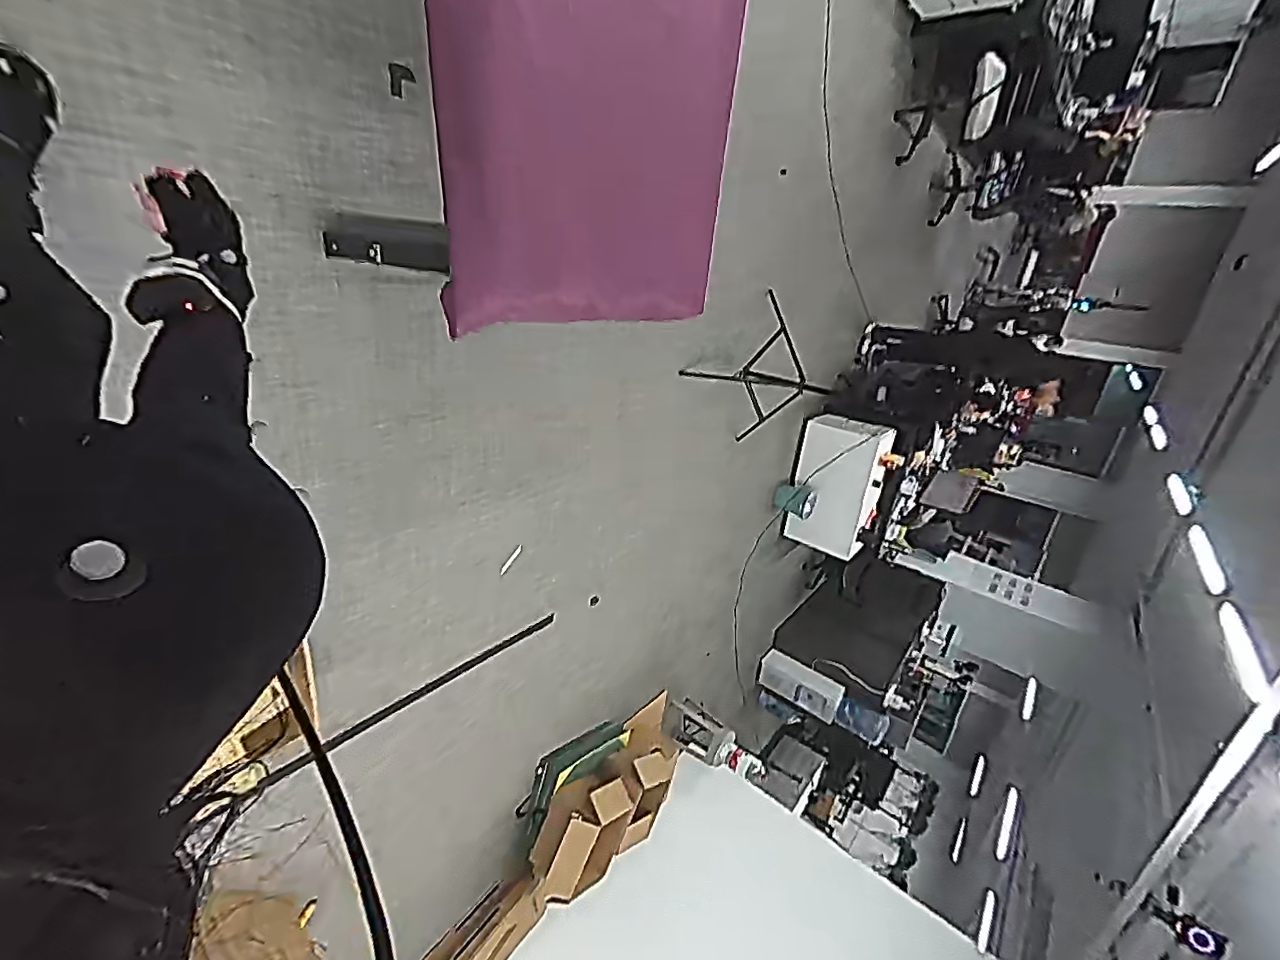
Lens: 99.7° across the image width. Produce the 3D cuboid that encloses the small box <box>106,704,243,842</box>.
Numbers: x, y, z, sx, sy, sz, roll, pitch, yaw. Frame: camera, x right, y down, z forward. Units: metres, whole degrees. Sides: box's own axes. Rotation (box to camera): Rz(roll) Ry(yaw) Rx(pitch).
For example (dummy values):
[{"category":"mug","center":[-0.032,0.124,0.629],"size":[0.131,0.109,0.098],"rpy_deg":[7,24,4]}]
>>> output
[{"category":"small box","center":[-1.004,0.617,1.169],"size":[0.168,0.176,0.179],"rpy_deg":[-27,131,-43]}]
